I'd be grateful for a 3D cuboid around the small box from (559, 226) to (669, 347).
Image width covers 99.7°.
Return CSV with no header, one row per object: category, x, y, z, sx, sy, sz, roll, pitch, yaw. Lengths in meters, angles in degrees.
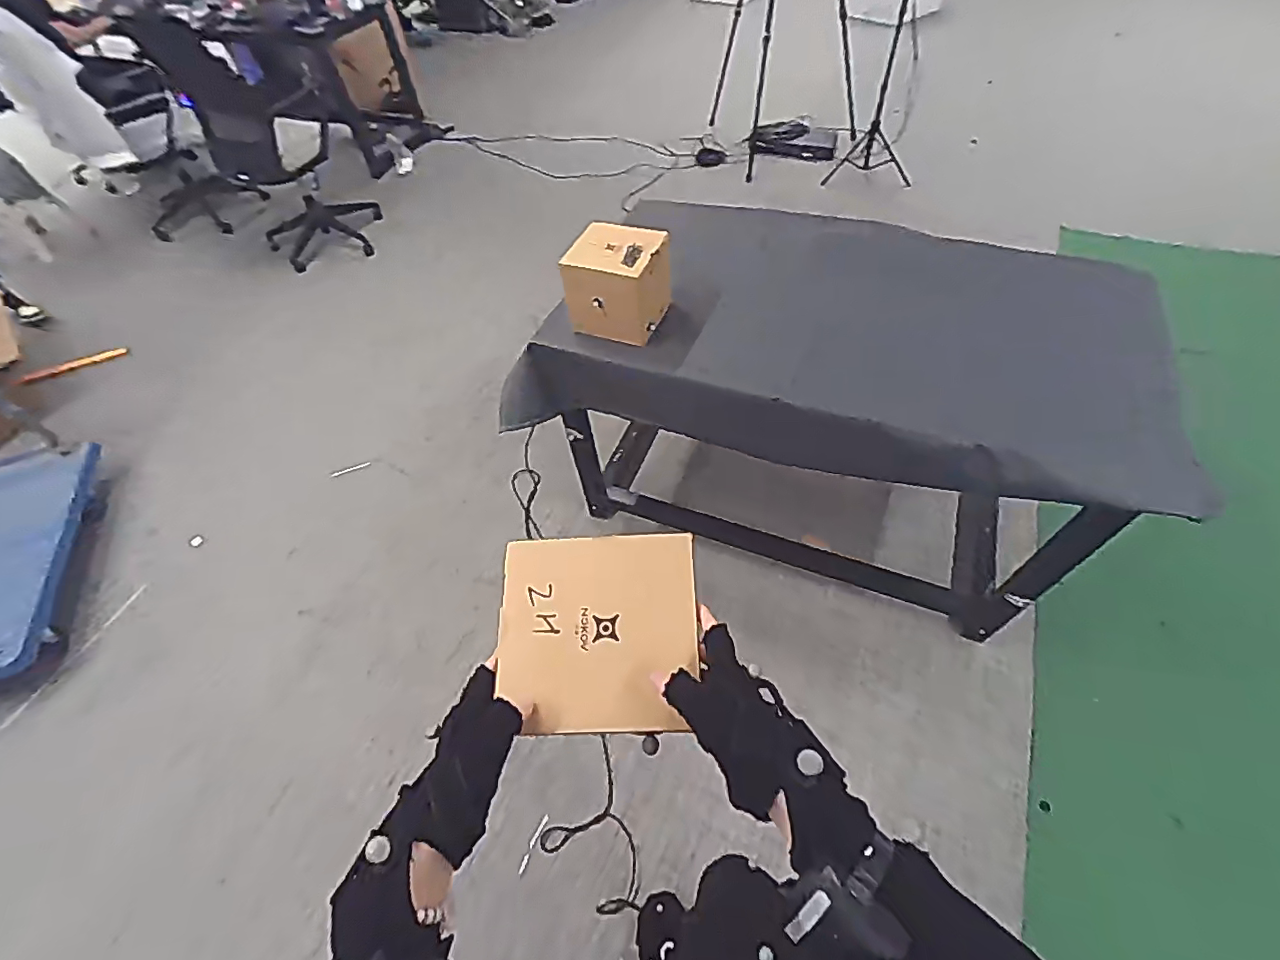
small box,-0.045,-0.406,1.146,0.179,0.176,0.168,17,56,17
